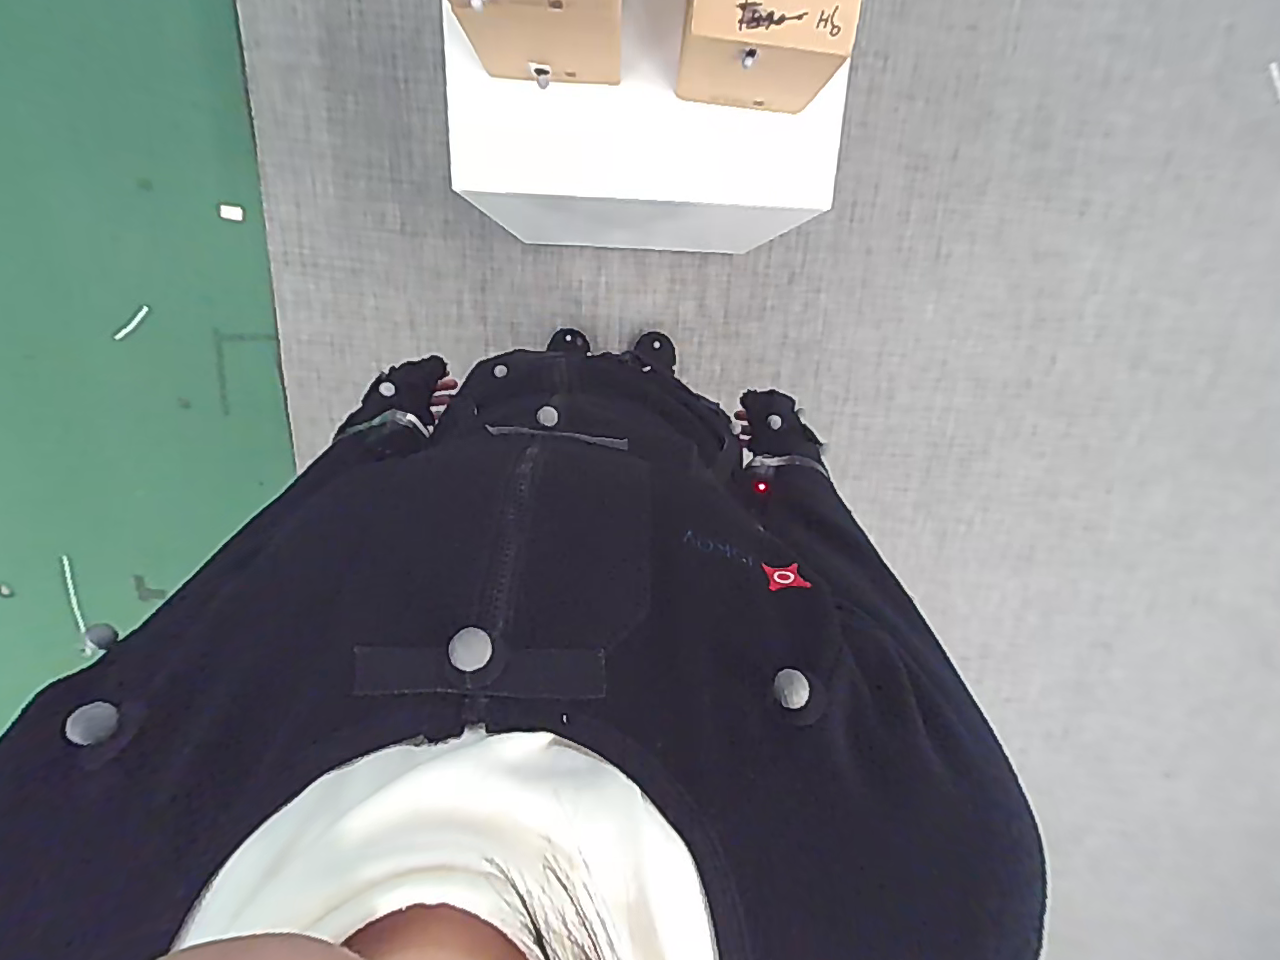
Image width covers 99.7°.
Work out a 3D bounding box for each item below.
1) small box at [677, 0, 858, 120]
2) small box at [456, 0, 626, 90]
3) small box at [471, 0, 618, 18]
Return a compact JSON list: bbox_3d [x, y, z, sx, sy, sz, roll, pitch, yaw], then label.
[{"bbox_3d":[0.136,-0.536,0.597,0.168,0.176,0.179,6,106,-3],"label":"small box"},{"bbox_3d":[-0.099,-0.559,0.586,0.168,0.176,0.179,1,108,-1],"label":"small box"},{"bbox_3d":[-0.096,-0.513,0.429,0.168,0.176,0.179,3,106,-2],"label":"small box"}]
